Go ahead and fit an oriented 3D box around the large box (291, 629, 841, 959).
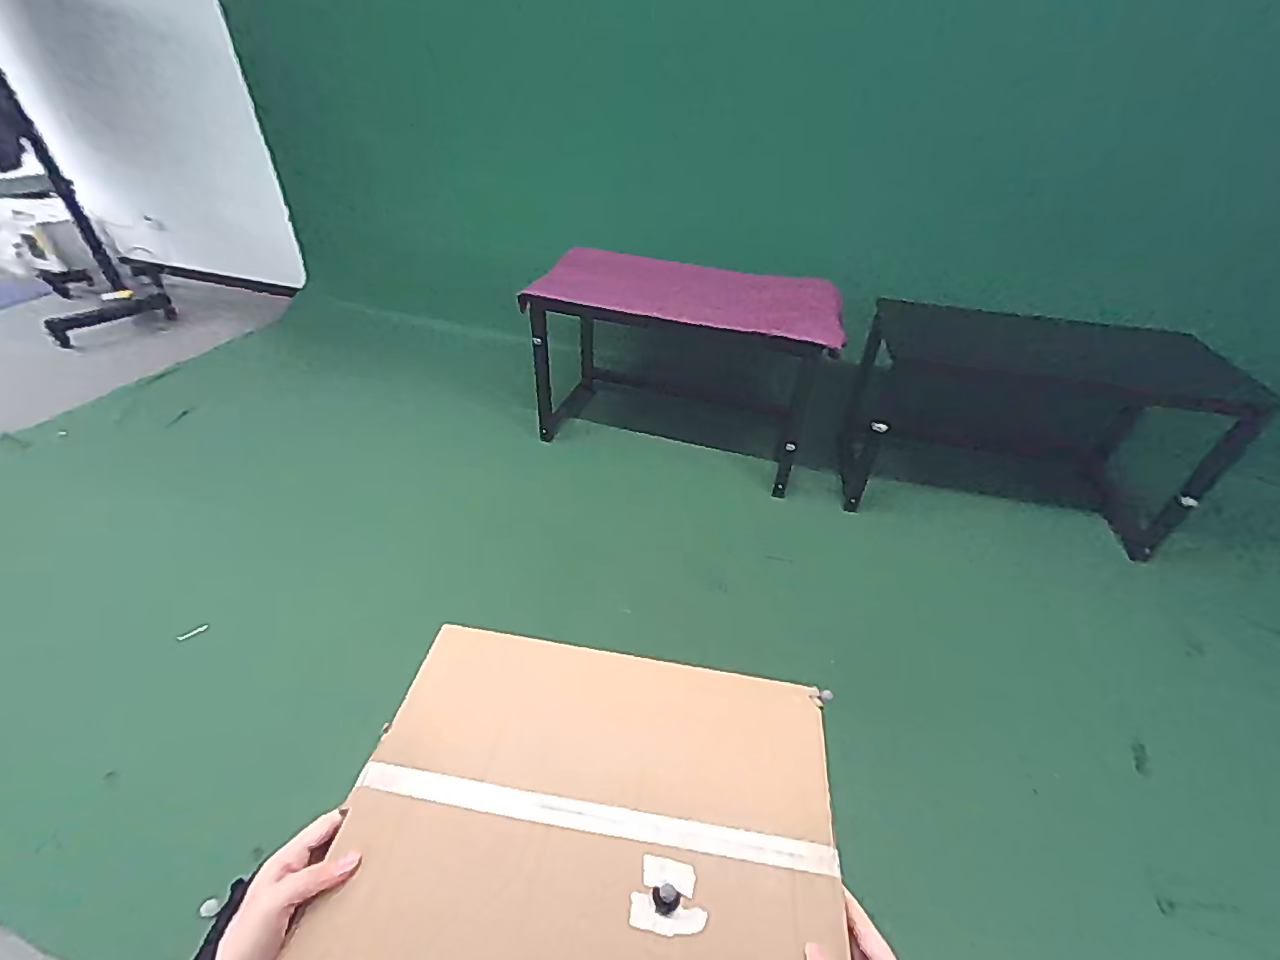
[{"bbox_3d":[-0.048,0.400,0.565,0.408,0.320,0.320,9,41,3],"label":"large box"}]
